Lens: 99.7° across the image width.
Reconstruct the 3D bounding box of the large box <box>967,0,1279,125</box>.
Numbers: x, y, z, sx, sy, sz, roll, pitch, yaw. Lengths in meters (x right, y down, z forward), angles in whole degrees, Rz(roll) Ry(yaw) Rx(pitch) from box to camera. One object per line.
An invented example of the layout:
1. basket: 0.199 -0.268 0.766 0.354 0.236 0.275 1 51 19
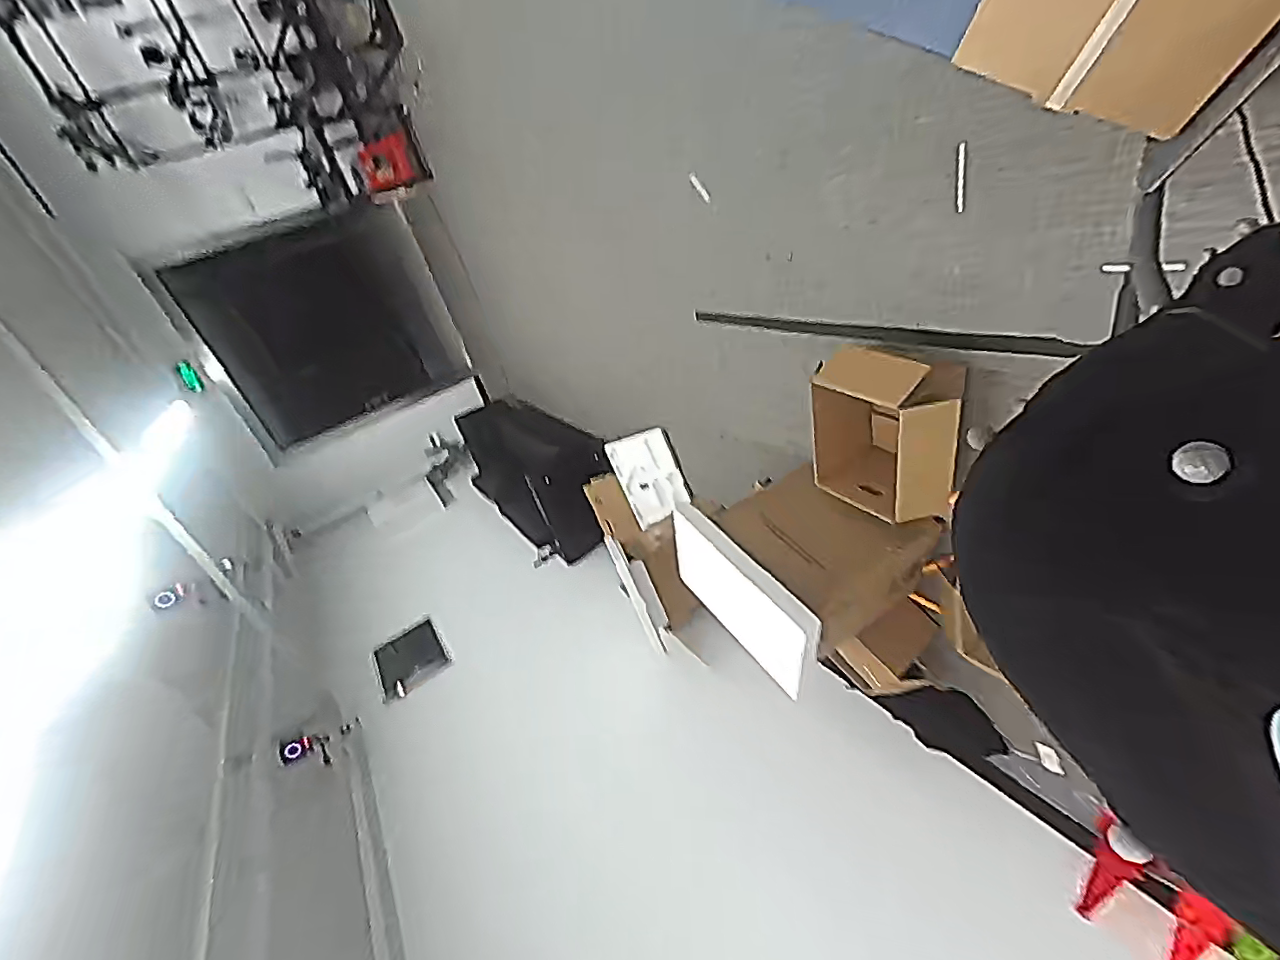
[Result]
1. large box: 0.694 -0.747 0.655 0.320 0.320 0.408 31 151 13
